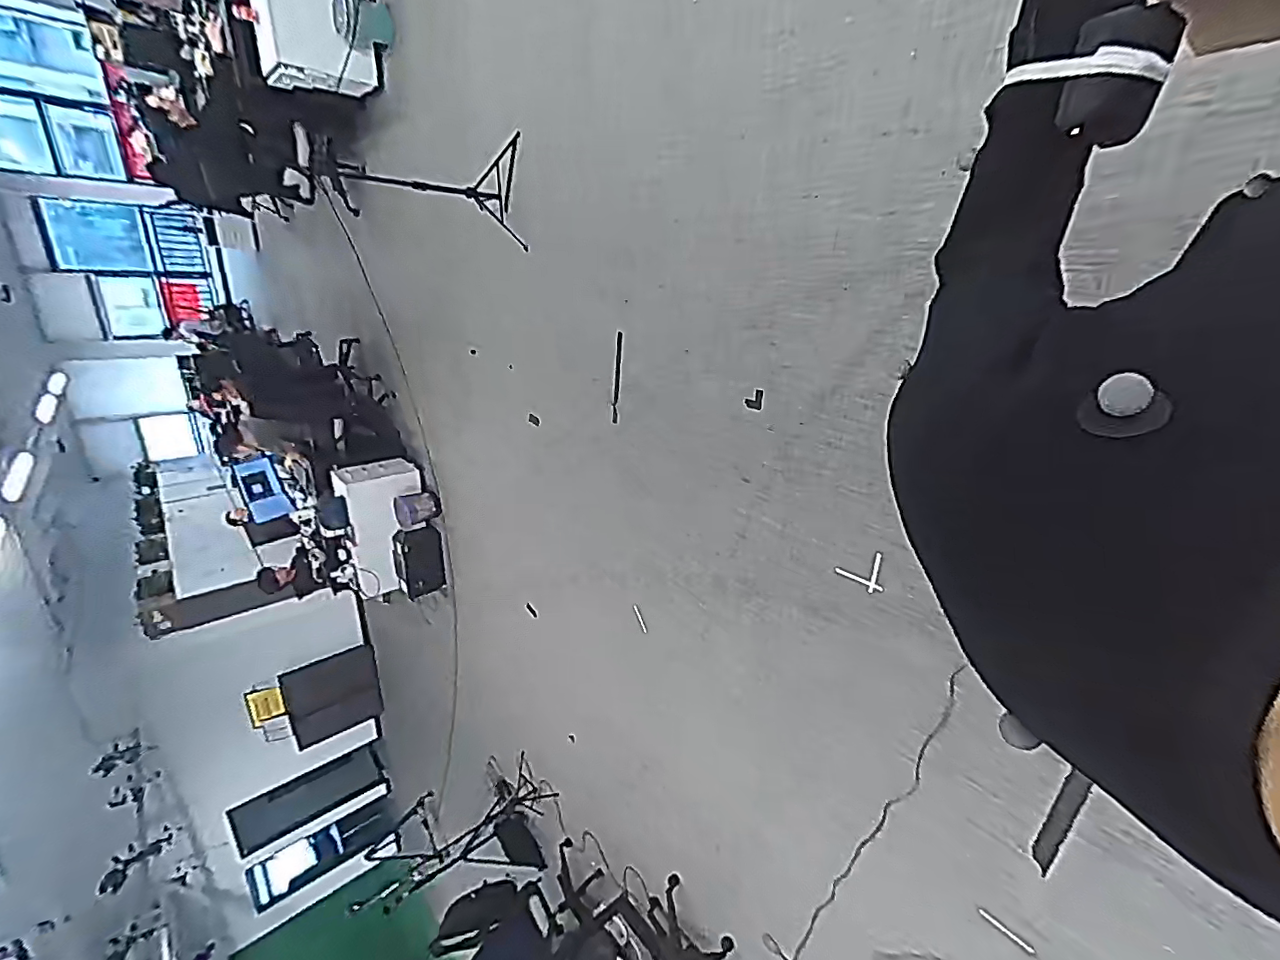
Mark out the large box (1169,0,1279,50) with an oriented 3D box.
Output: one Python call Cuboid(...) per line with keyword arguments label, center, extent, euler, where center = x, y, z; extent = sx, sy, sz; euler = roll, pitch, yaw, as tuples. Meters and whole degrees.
Cuboid(label="large box", center=(0.552, -0.459, 0.240), extent=(0.408, 0.320, 0.320), euler=(19, 124, 43))
